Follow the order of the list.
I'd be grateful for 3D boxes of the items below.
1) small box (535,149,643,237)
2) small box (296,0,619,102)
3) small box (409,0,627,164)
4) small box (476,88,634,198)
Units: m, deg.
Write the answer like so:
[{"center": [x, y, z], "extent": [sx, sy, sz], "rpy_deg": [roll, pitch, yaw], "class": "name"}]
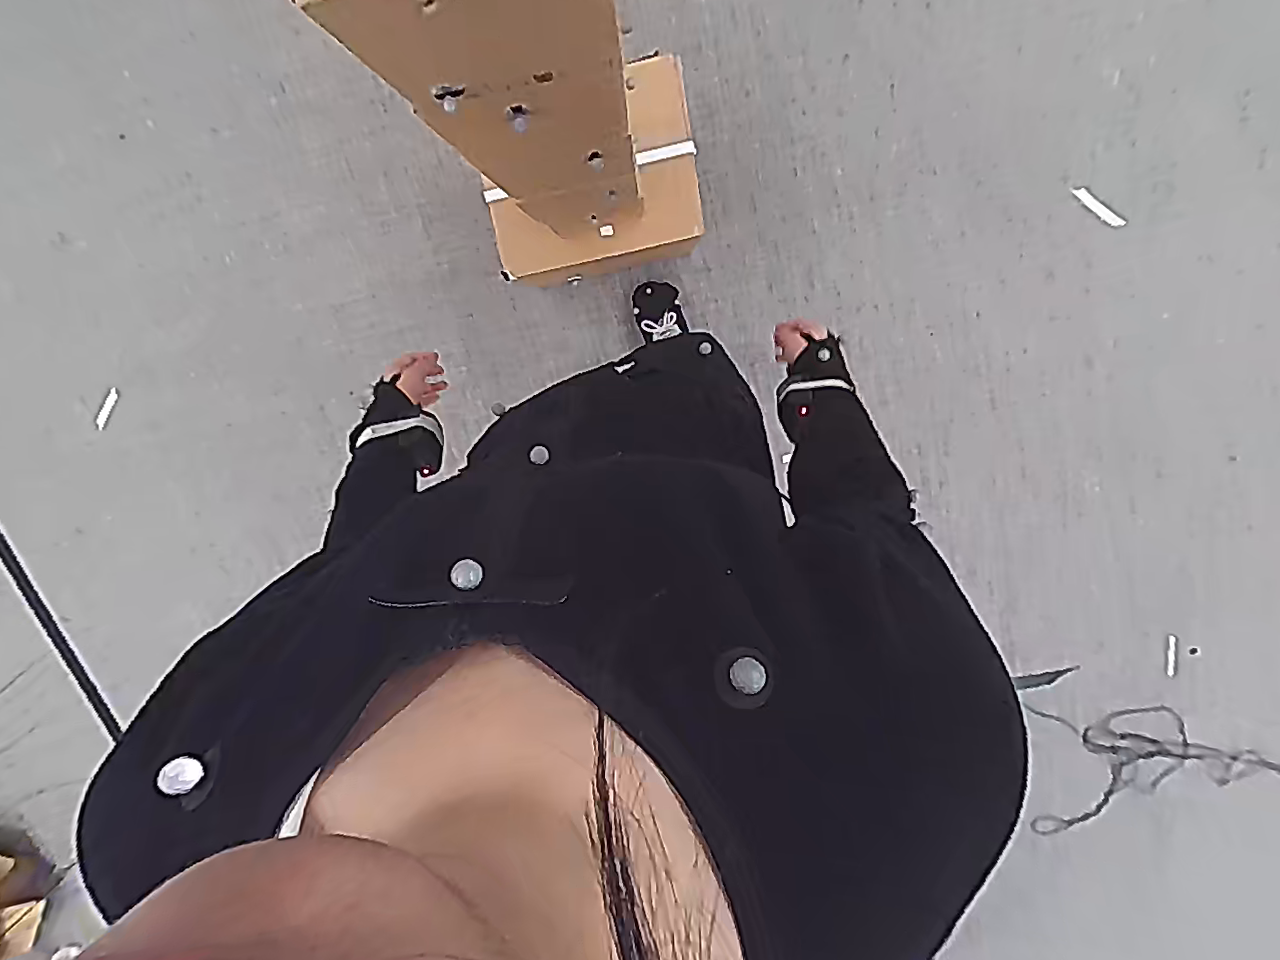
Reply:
[{"center": [-0.096, -0.543, 0.954], "extent": [0.179, 0.176, 0.168], "rpy_deg": [-13, 107, 4], "class": "small box"}, {"center": [-0.110, -0.360, 0.325], "extent": [0.168, 0.176, 0.179], "rpy_deg": [-9, 106, 4], "class": "small box"}, {"center": [-0.109, -0.406, 0.484], "extent": [0.179, 0.176, 0.168], "rpy_deg": [-9, 107, 4], "class": "small box"}, {"center": [-0.105, -0.451, 0.639], "extent": [0.179, 0.176, 0.168], "rpy_deg": [-9, 106, 4], "class": "small box"}]
